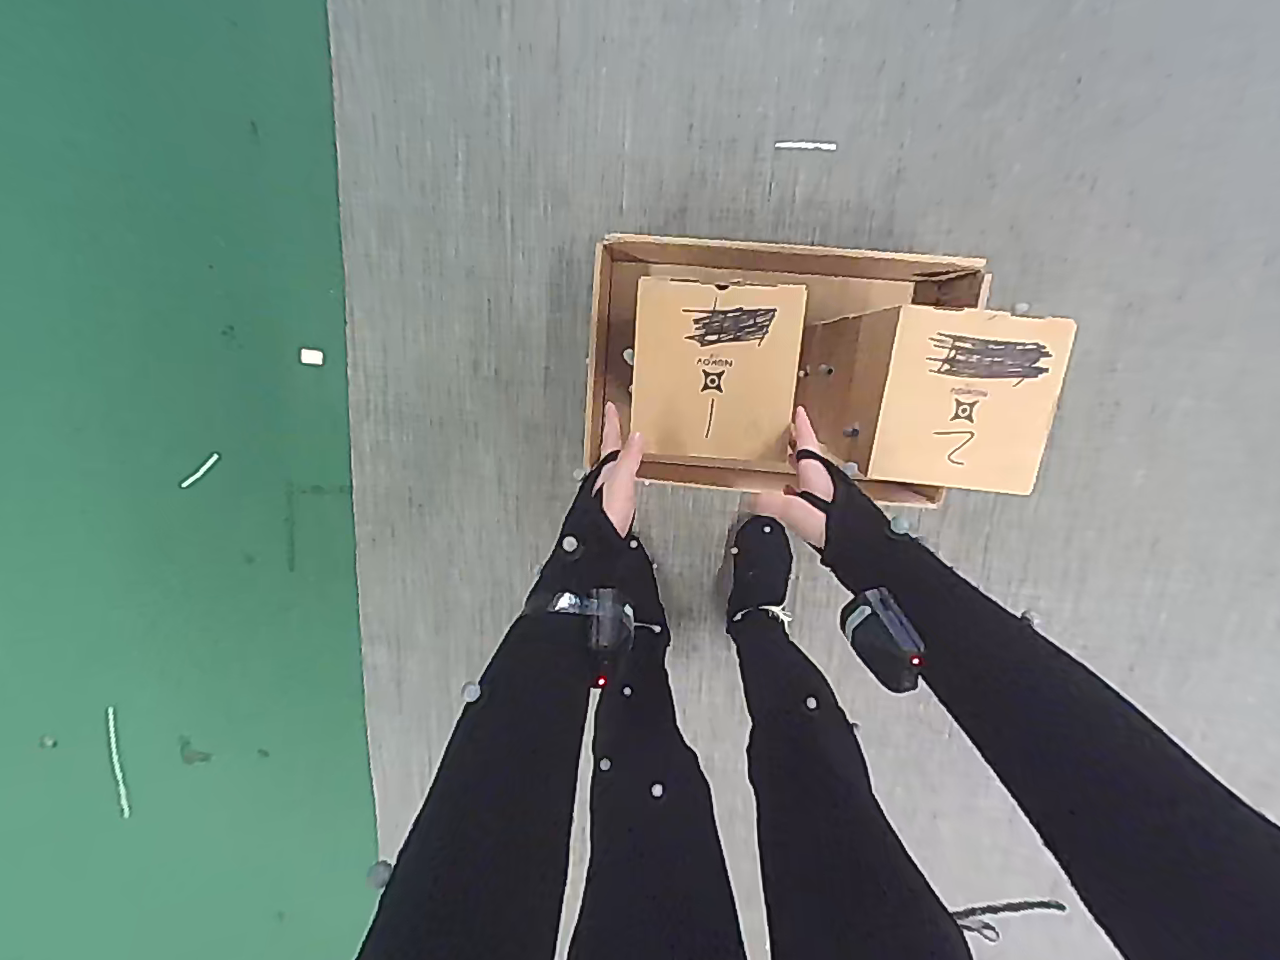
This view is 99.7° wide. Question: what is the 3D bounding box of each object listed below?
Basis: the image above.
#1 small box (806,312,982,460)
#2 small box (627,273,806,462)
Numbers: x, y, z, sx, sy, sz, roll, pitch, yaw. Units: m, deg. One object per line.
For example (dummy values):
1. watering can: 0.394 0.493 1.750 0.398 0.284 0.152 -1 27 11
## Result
1. small box: 0.343 -0.134 0.768 0.168 0.176 0.179 6 102 4
2. small box: 0.077 -0.126 0.617 0.168 0.176 0.179 5 103 2
